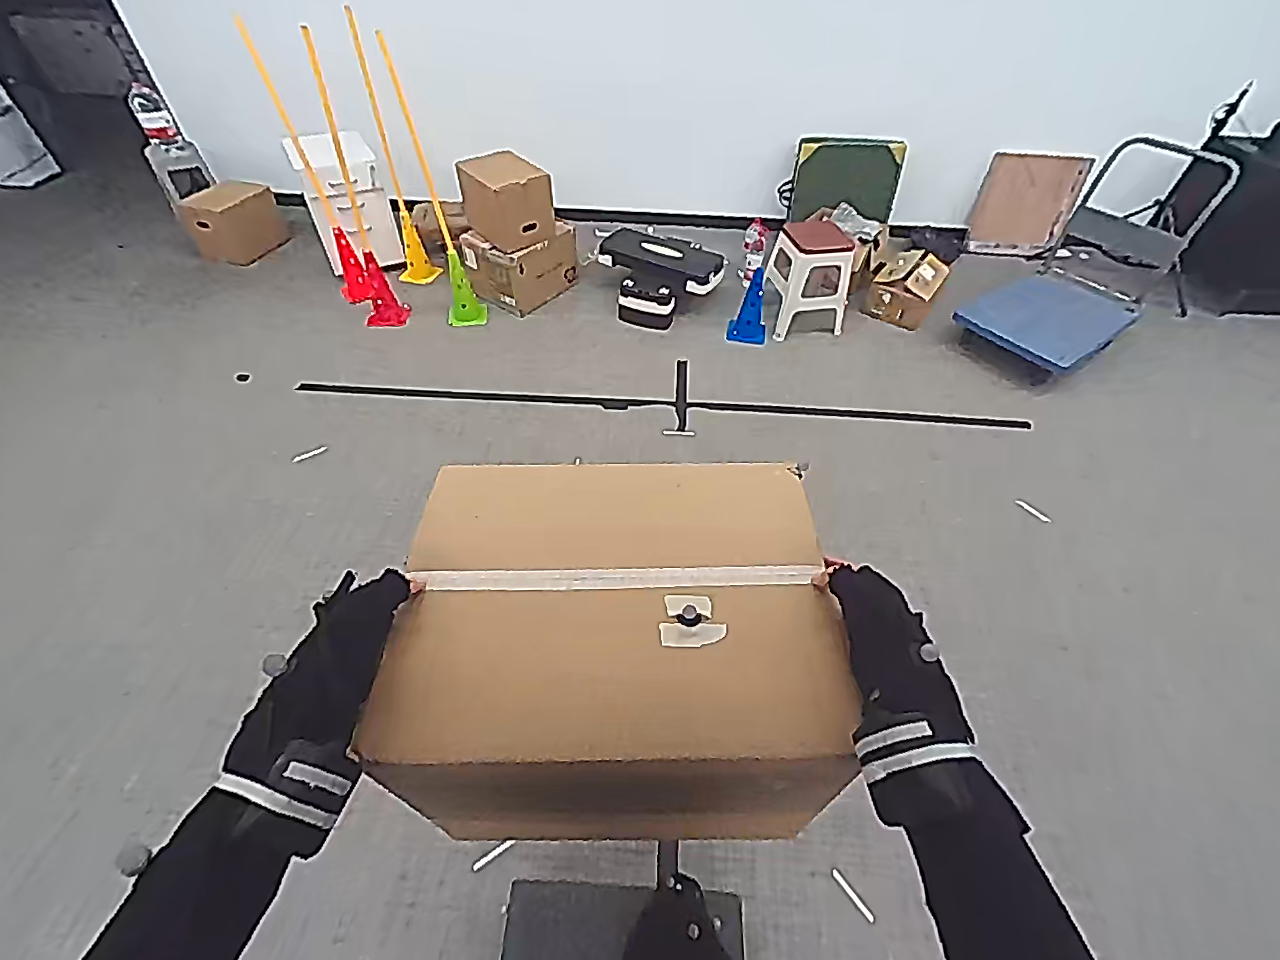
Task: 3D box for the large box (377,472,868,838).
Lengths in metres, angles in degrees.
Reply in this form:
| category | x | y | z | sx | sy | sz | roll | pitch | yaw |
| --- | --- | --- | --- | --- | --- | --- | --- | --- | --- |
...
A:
| category | x | y | z | sx | sy | sz | roll | pitch | yaw |
| --- | --- | --- | --- | --- | --- | --- | --- | --- | --- |
| large box | -0.017 | 0.207 | 0.639 | 0.408 | 0.320 | 0.320 | 0 | 47 | 0 |
